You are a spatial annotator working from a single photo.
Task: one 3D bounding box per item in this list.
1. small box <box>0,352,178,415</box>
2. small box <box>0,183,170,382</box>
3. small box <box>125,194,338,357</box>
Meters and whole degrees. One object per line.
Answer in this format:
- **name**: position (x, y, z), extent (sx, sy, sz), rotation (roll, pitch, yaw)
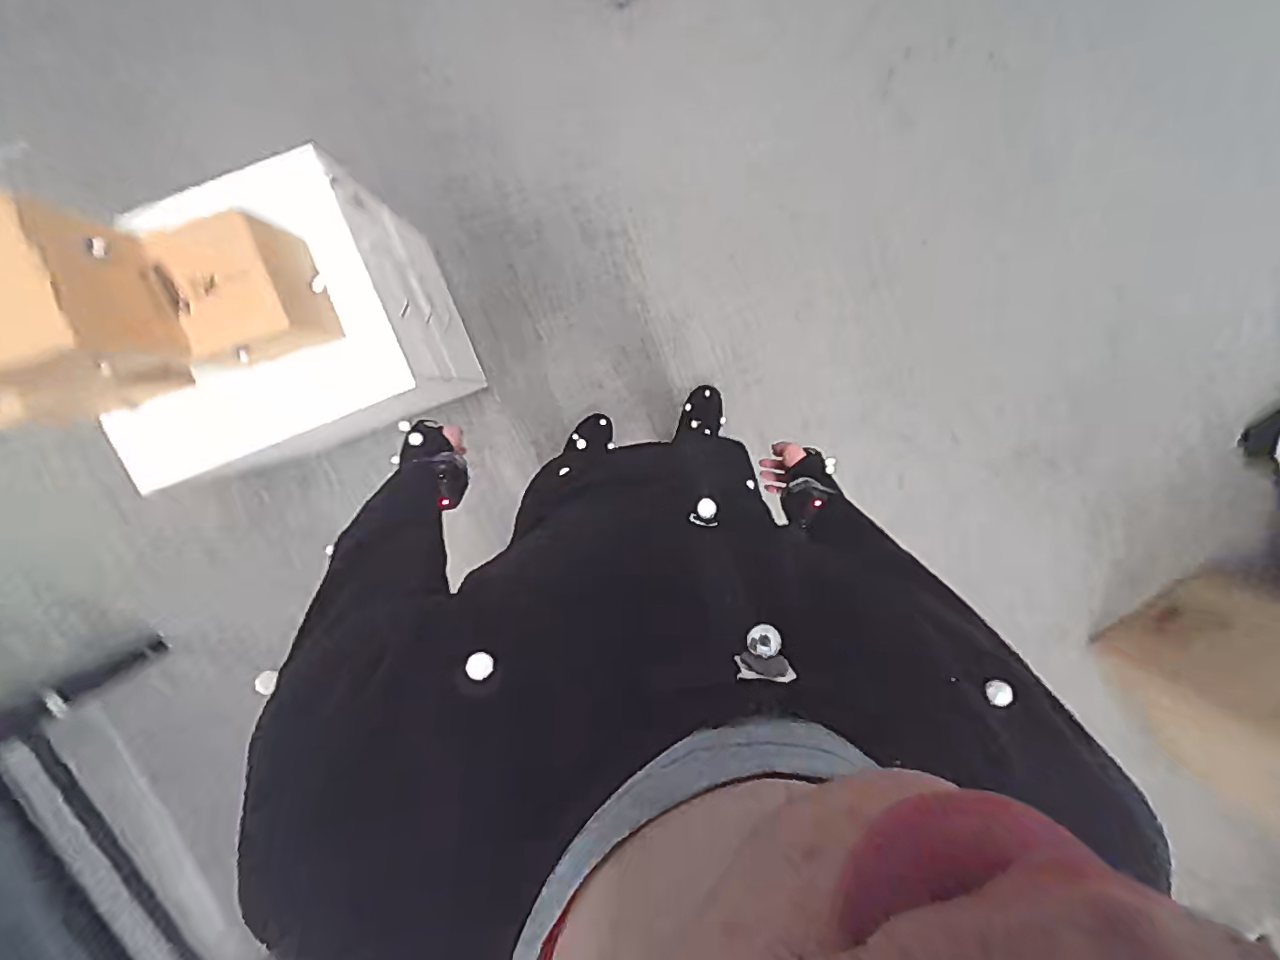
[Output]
- **small box**: position (-0.837, -0.204, 0.792), extent (0.179, 0.176, 0.168), rotation (-20, 101, -2)
- **small box**: position (-0.709, -0.218, 0.631), extent (0.179, 0.176, 0.168), rotation (-18, 100, 1)
- **small box**: position (-0.589, -0.283, 0.791), extent (0.179, 0.176, 0.168), rotation (-18, 101, 0)
